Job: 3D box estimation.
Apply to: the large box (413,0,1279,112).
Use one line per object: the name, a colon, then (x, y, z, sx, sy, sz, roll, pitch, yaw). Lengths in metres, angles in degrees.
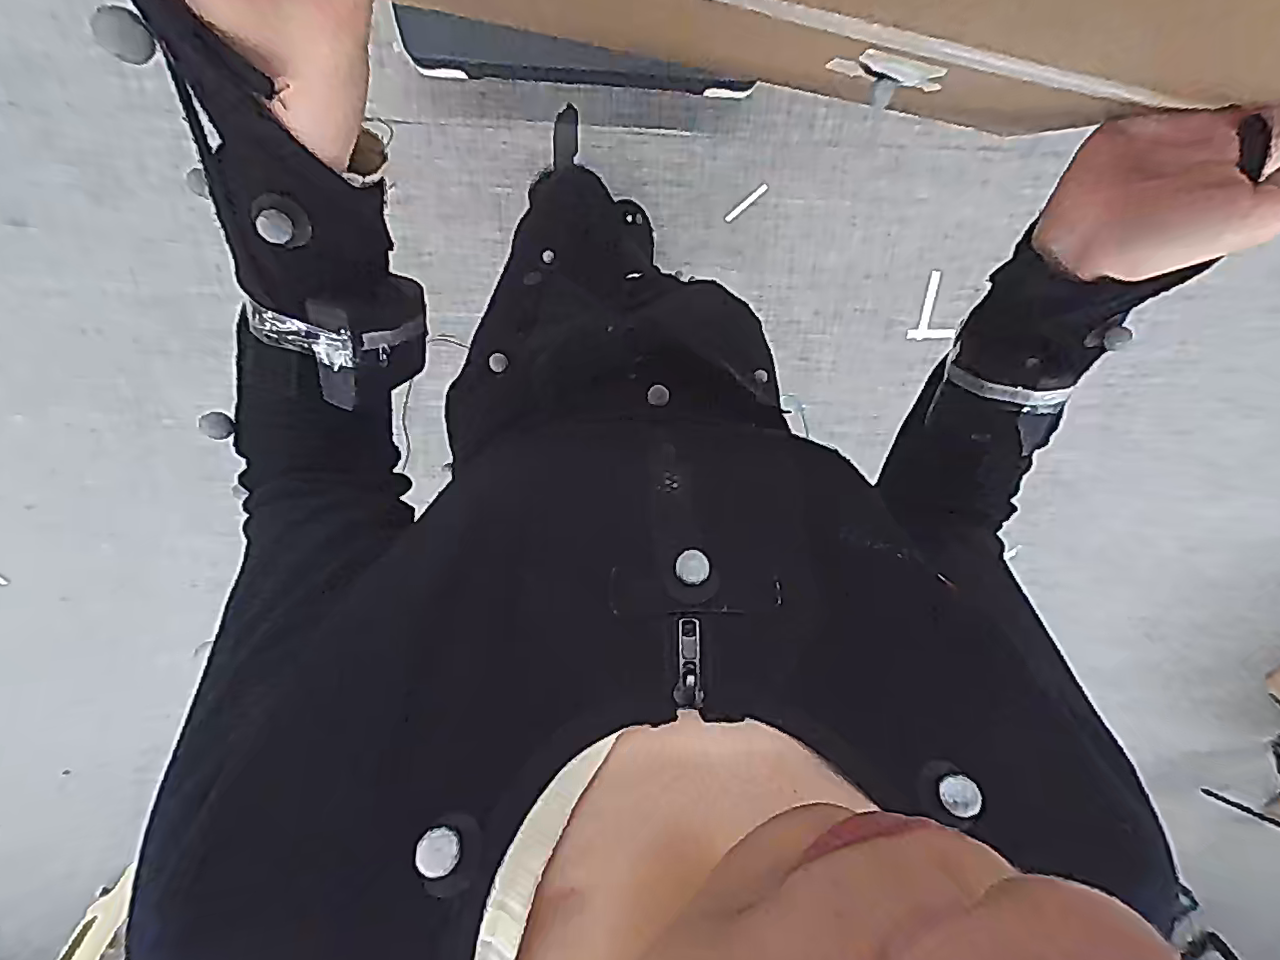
large box: (0.066, -0.325, 0.133, 0.408, 0.320, 0.320, 6, 119, -7)
